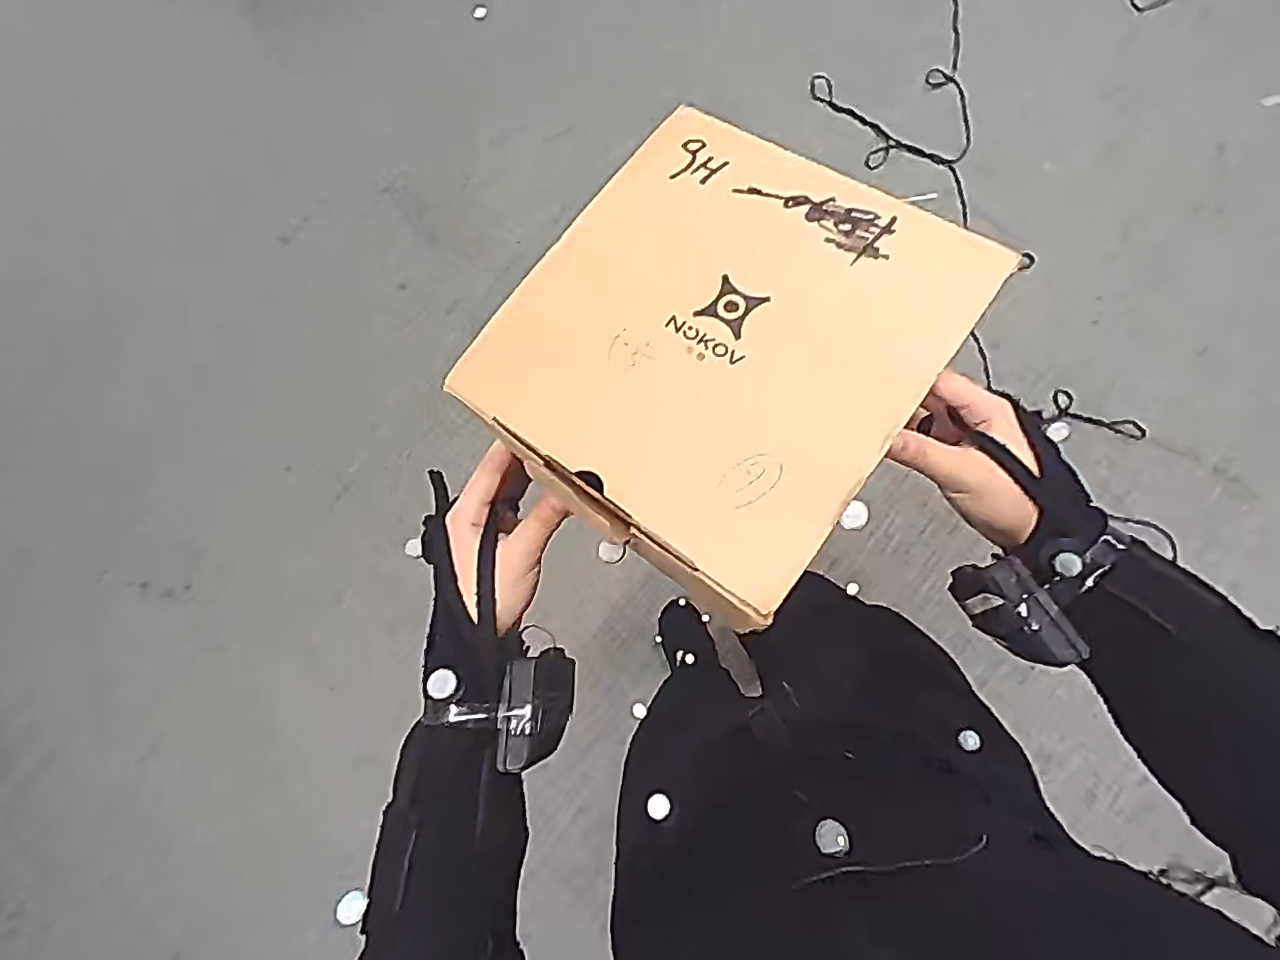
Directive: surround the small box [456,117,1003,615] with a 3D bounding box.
[{"bbox_3d":[0.044,-0.040,0.302,0.168,0.176,0.179,36,83,16],"label":"small box"}]
